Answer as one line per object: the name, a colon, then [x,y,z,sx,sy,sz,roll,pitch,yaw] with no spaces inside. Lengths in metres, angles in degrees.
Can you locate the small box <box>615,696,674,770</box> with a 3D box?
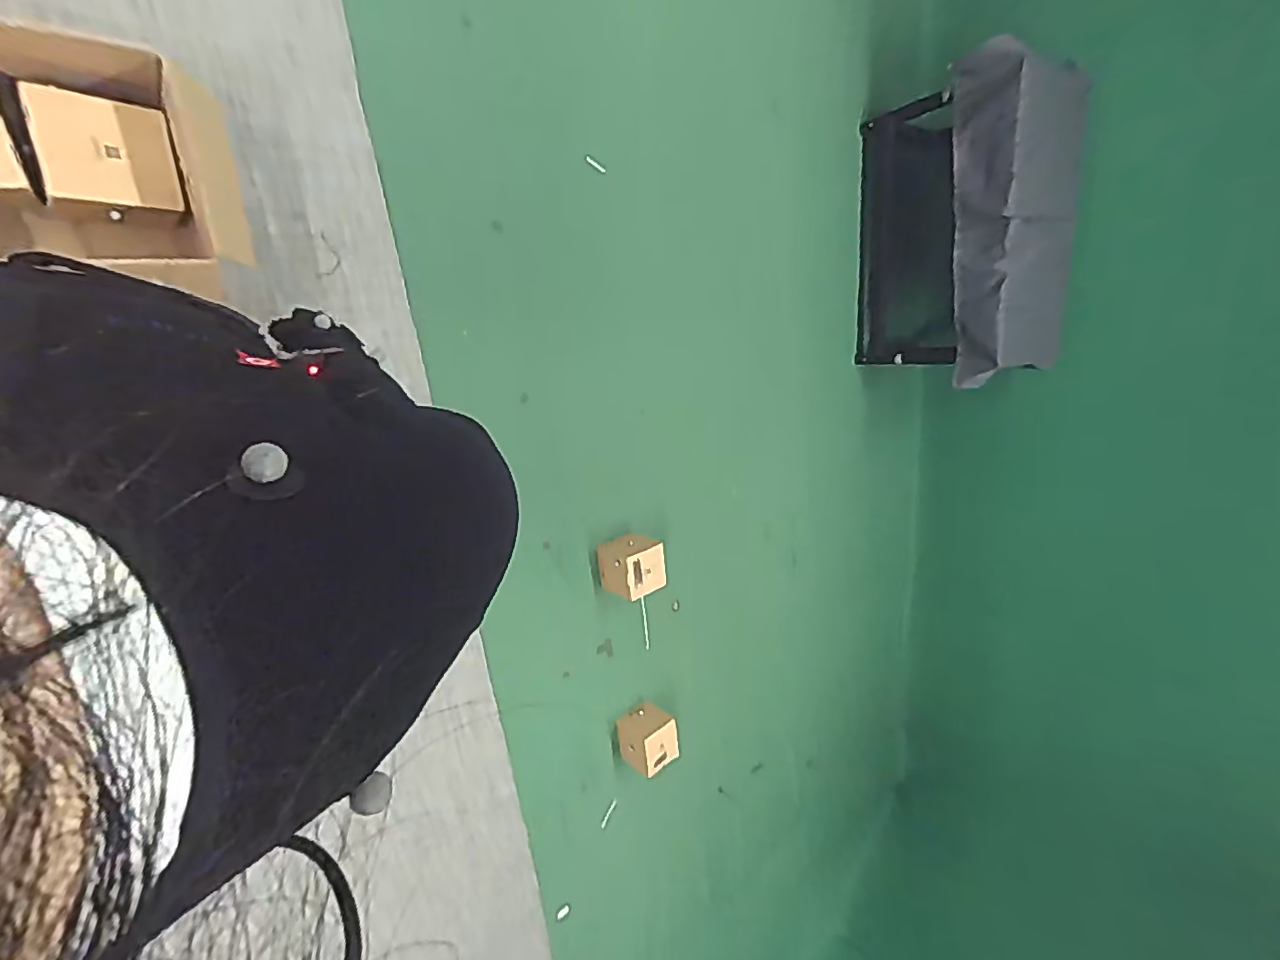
small box: [0.016,1.004,2.161,0.168,0.176,0.179,-18,110,-39]
